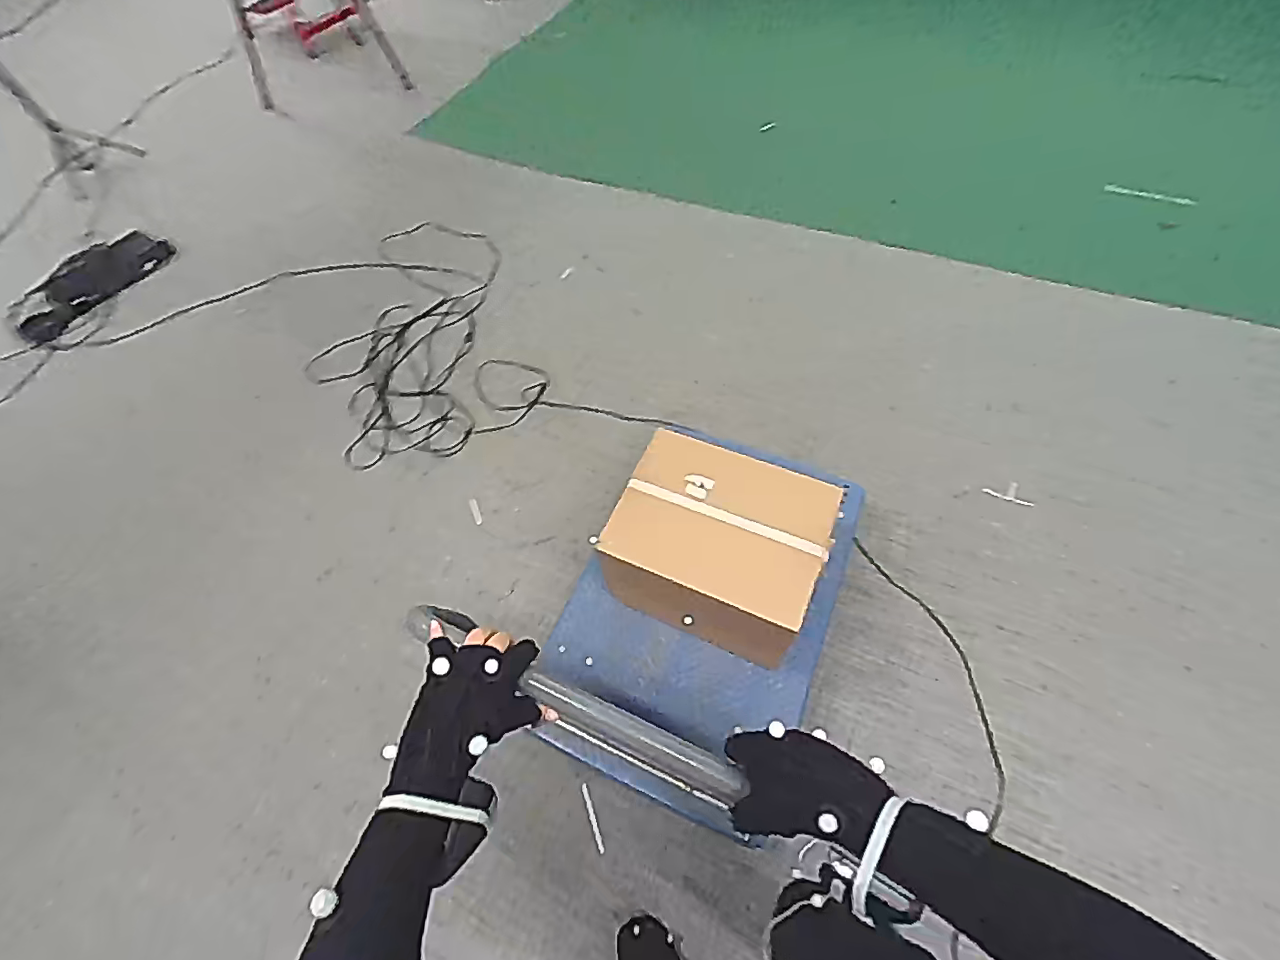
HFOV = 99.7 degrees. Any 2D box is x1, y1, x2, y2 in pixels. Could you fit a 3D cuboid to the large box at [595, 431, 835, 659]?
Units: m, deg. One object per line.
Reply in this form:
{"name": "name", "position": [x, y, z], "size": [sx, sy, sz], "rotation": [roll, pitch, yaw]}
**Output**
{"name": "large box", "position": [0.166, 0.147, 1.193], "size": [0.408, 0.320, 0.320], "rotation": [19, 62, 17]}
